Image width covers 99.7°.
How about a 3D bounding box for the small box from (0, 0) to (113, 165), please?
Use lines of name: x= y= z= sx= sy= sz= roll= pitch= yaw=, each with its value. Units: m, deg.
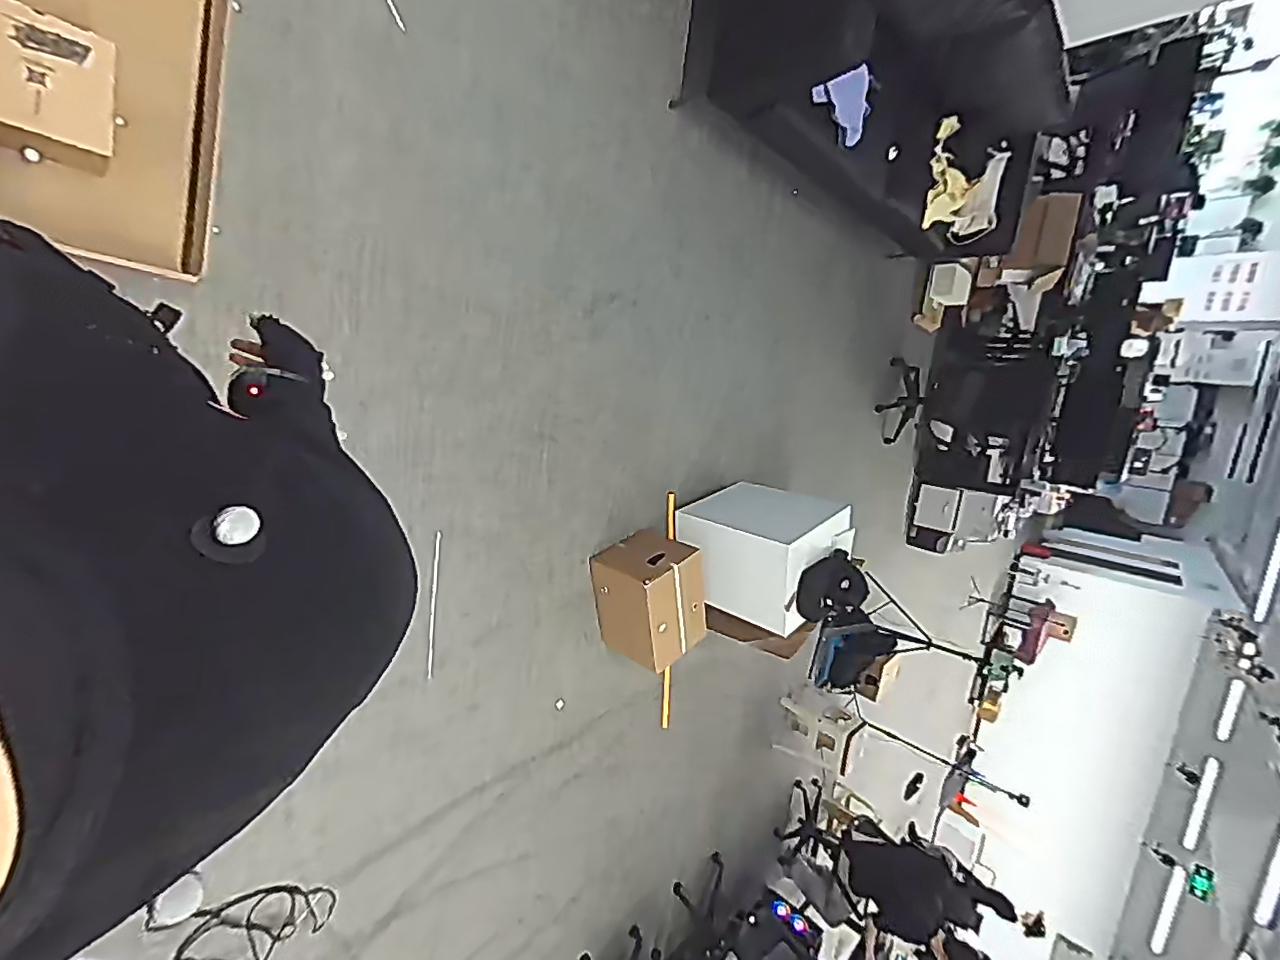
small box: x=-0.947 y=-0.628 z=0.841 sx=0.168 sy=0.176 sz=0.179 roll=1 pitch=100 yaw=-48
